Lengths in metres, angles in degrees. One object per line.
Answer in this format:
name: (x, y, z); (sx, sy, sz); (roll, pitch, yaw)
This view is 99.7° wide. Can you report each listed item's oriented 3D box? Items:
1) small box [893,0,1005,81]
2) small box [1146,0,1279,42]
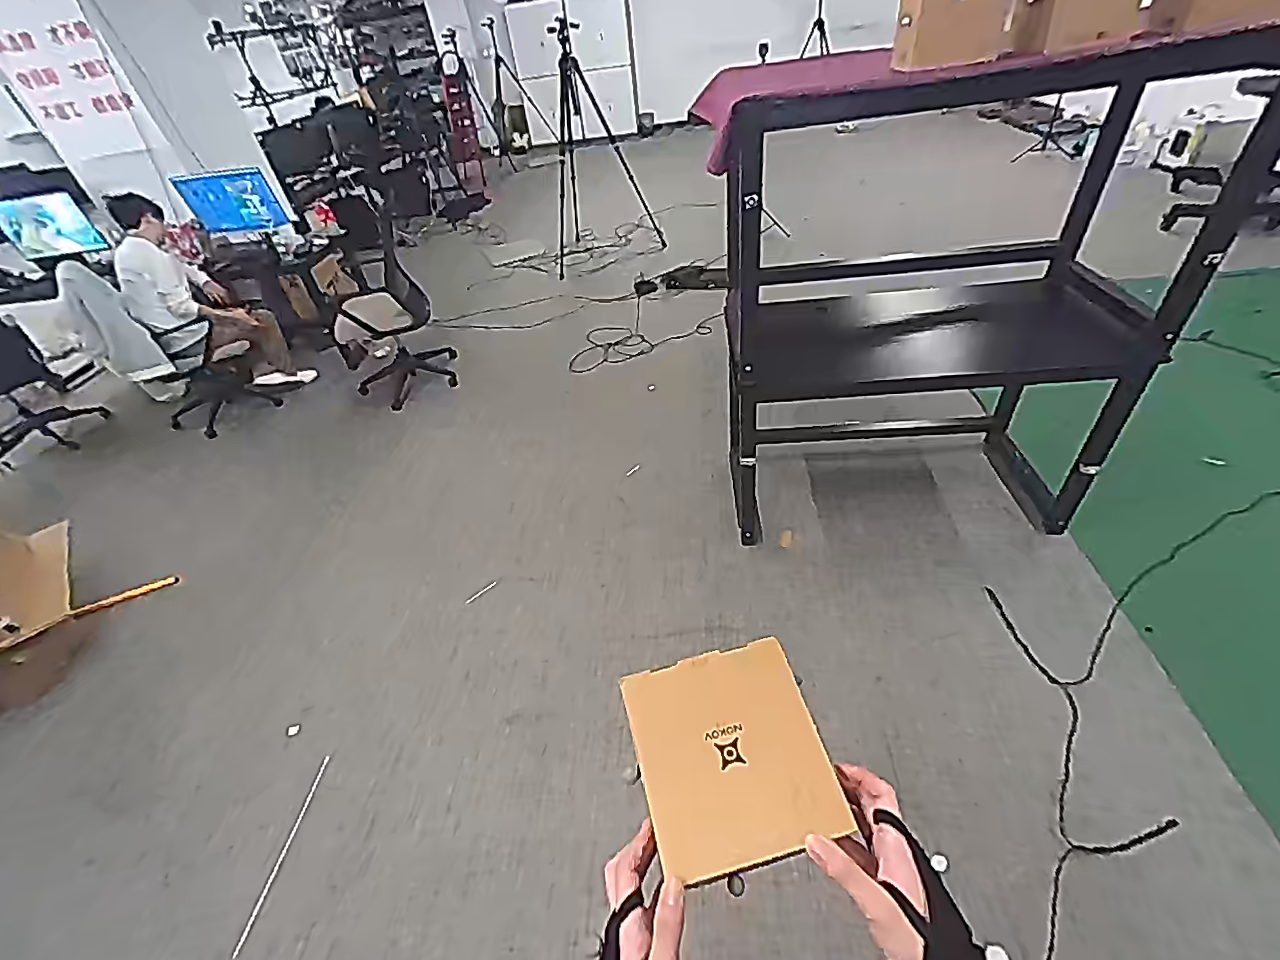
small box: (0.654, -0.970, 1.155); (0.179, 0.176, 0.168); (-1, 40, 10)
small box: (1.175, -1.003, 1.085); (0.179, 0.176, 0.168); (-1, 42, 11)
